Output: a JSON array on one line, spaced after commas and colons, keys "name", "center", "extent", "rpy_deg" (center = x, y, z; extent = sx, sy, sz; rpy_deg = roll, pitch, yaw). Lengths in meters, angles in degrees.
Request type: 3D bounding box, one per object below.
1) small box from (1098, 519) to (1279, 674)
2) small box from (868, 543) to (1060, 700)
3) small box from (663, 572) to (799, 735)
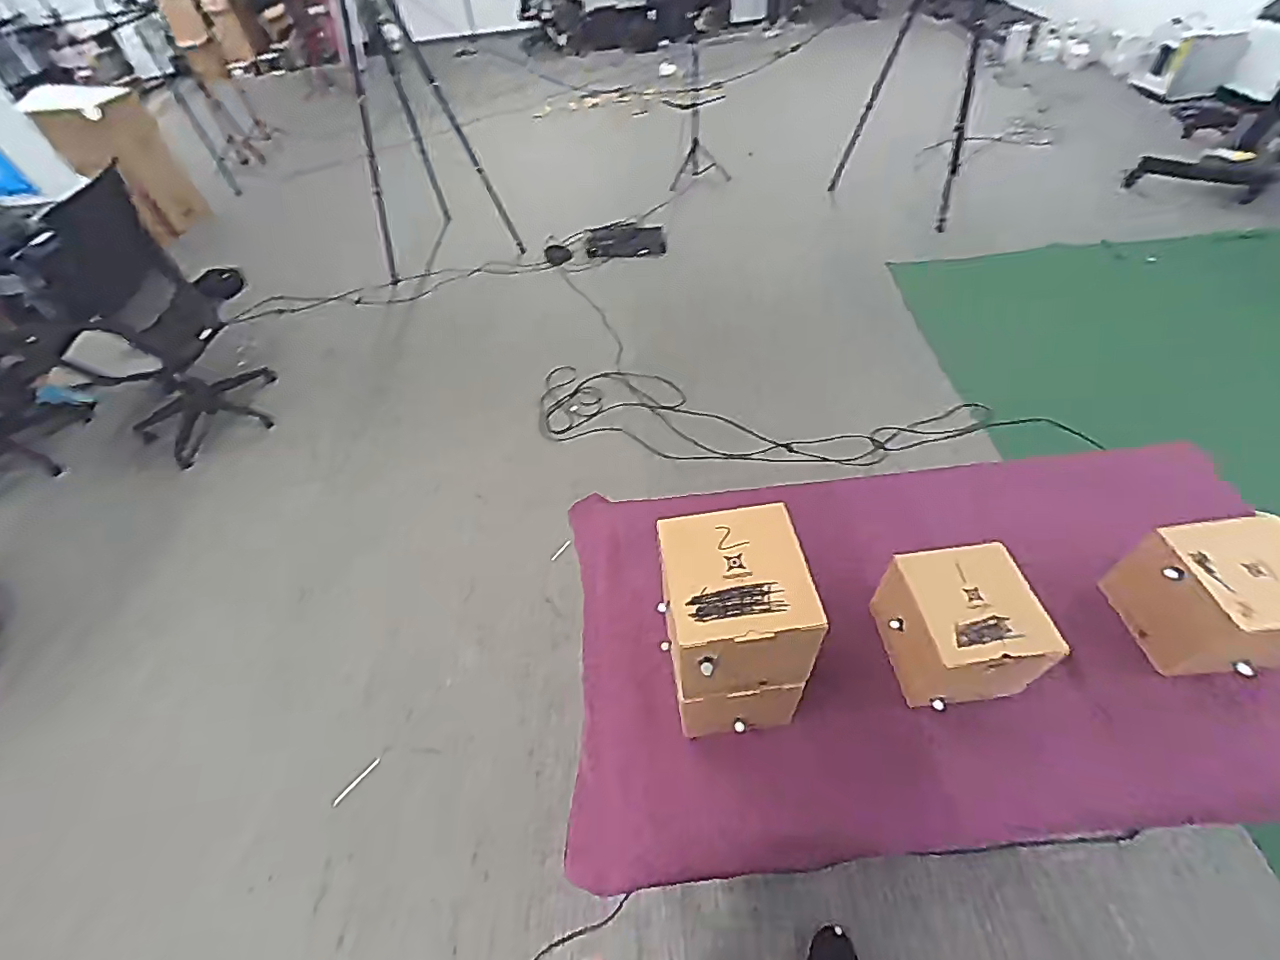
[{"name": "small box", "center": [0.859, 0.178, 0.812], "extent": [0.179, 0.176, 0.168], "rpy_deg": [-6, 50, 2]}, {"name": "small box", "center": [0.471, 0.221, 0.821], "extent": [0.168, 0.176, 0.179], "rpy_deg": [-7, 49, 1]}, {"name": "small box", "center": [0.127, 0.265, 0.823], "extent": [0.168, 0.176, 0.179], "rpy_deg": [-8, 50, 0]}]
